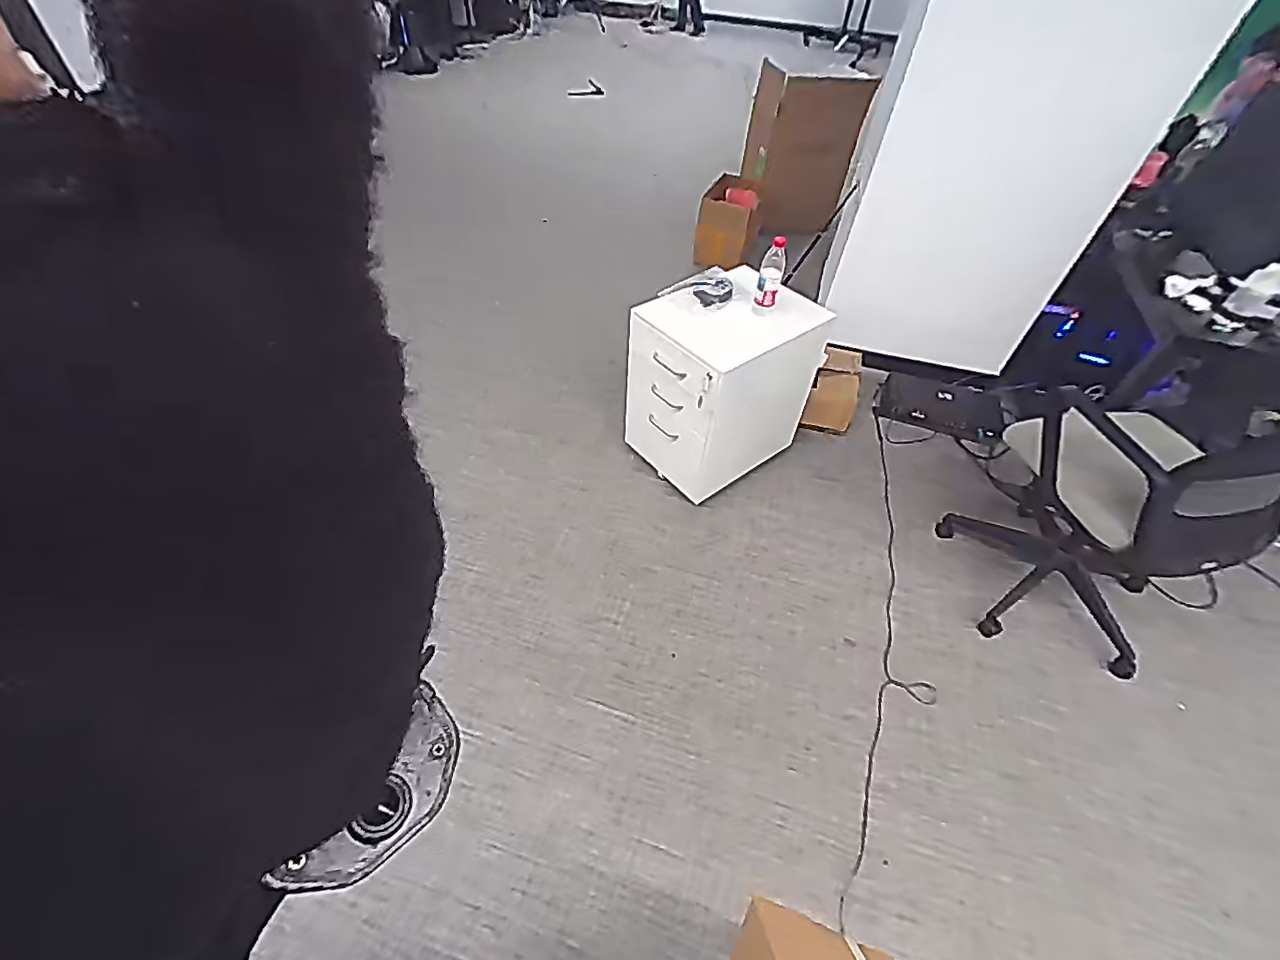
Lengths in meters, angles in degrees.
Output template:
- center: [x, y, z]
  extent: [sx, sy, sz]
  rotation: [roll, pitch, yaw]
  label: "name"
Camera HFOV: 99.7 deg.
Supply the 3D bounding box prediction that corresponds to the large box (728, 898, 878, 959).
- center: [0.245, 0.806, 0.612]
  extent: [0.320, 0.408, 0.320]
  rotation: [23, 79, 6]
  label: "large box"
